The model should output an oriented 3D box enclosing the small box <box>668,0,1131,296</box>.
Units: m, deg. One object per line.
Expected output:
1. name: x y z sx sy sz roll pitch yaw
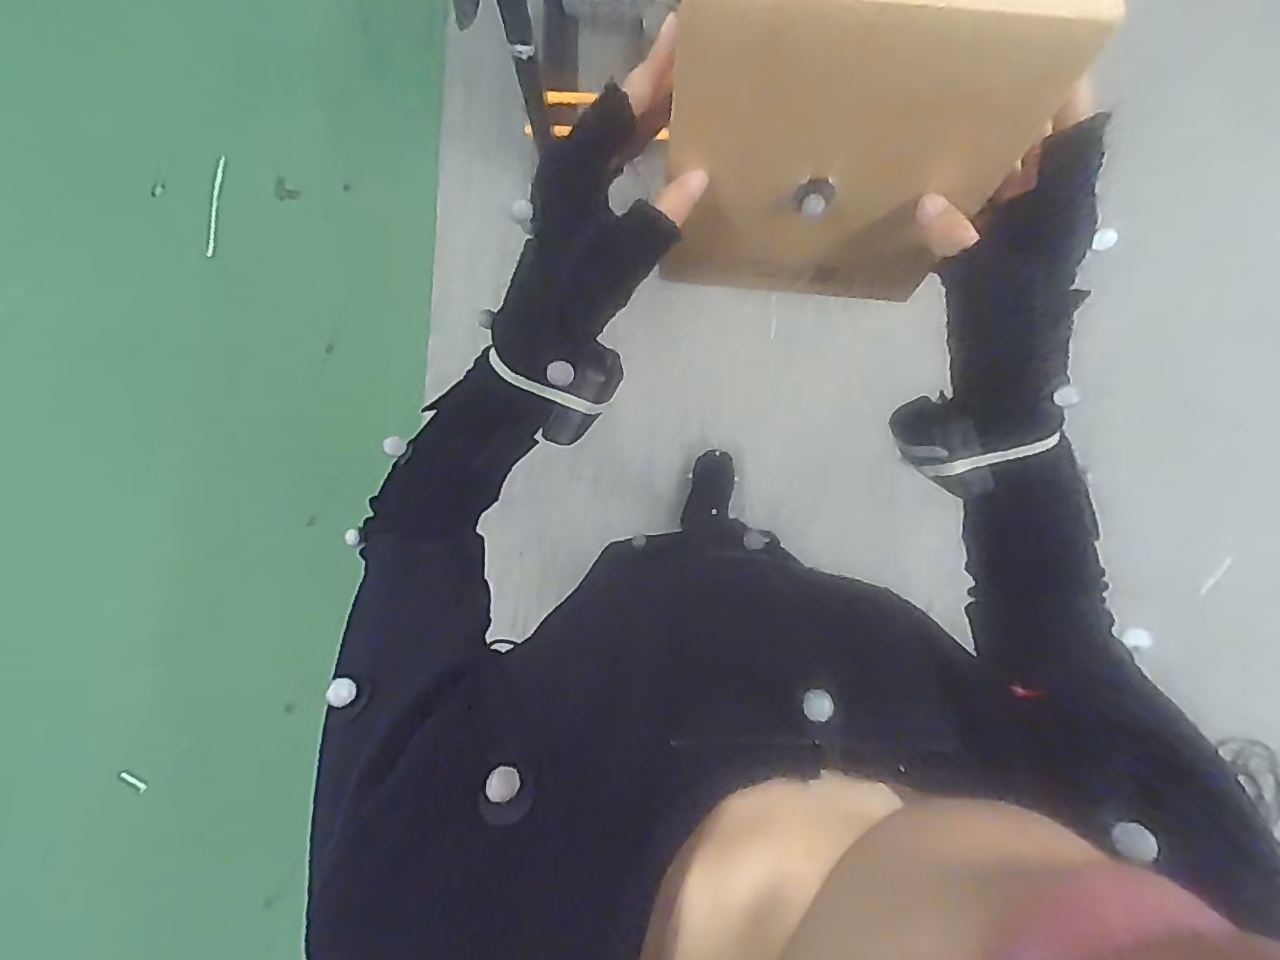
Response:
1. small box: 0.107 -0.228 0.304 0.168 0.176 0.179 5 71 -1
